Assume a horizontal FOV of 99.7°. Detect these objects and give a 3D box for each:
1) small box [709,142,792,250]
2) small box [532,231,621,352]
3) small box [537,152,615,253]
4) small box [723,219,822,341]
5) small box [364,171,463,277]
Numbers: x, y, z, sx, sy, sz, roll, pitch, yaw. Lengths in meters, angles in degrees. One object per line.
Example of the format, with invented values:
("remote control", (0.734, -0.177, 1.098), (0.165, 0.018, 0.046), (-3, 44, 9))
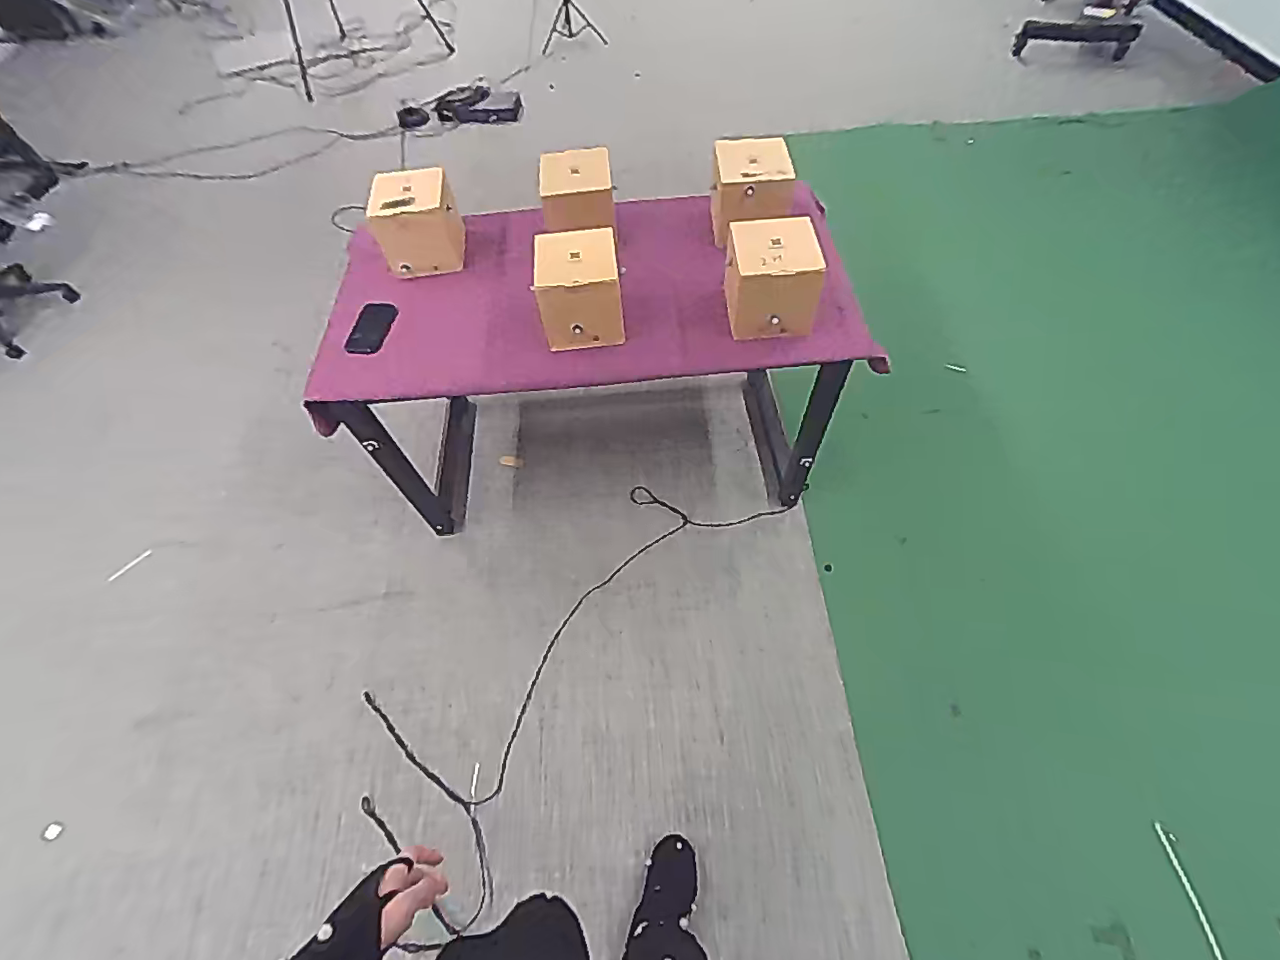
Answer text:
("small box", (0.258, -0.684, 1.308), (0.168, 0.176, 0.179), (-3, 58, 3))
("small box", (-0.132, -0.399, 1.154), (0.168, 0.176, 0.179), (-6, 58, -1))
("small box", (-0.153, -0.667, 1.323), (0.168, 0.176, 0.179), (-6, 59, 1))
("small box", (0.268, -0.417, 1.136), (0.168, 0.176, 0.179), (-4, 58, 3))
("small box", (-0.537, -0.610, 1.309), (0.168, 0.176, 0.179), (-8, 57, -2))
